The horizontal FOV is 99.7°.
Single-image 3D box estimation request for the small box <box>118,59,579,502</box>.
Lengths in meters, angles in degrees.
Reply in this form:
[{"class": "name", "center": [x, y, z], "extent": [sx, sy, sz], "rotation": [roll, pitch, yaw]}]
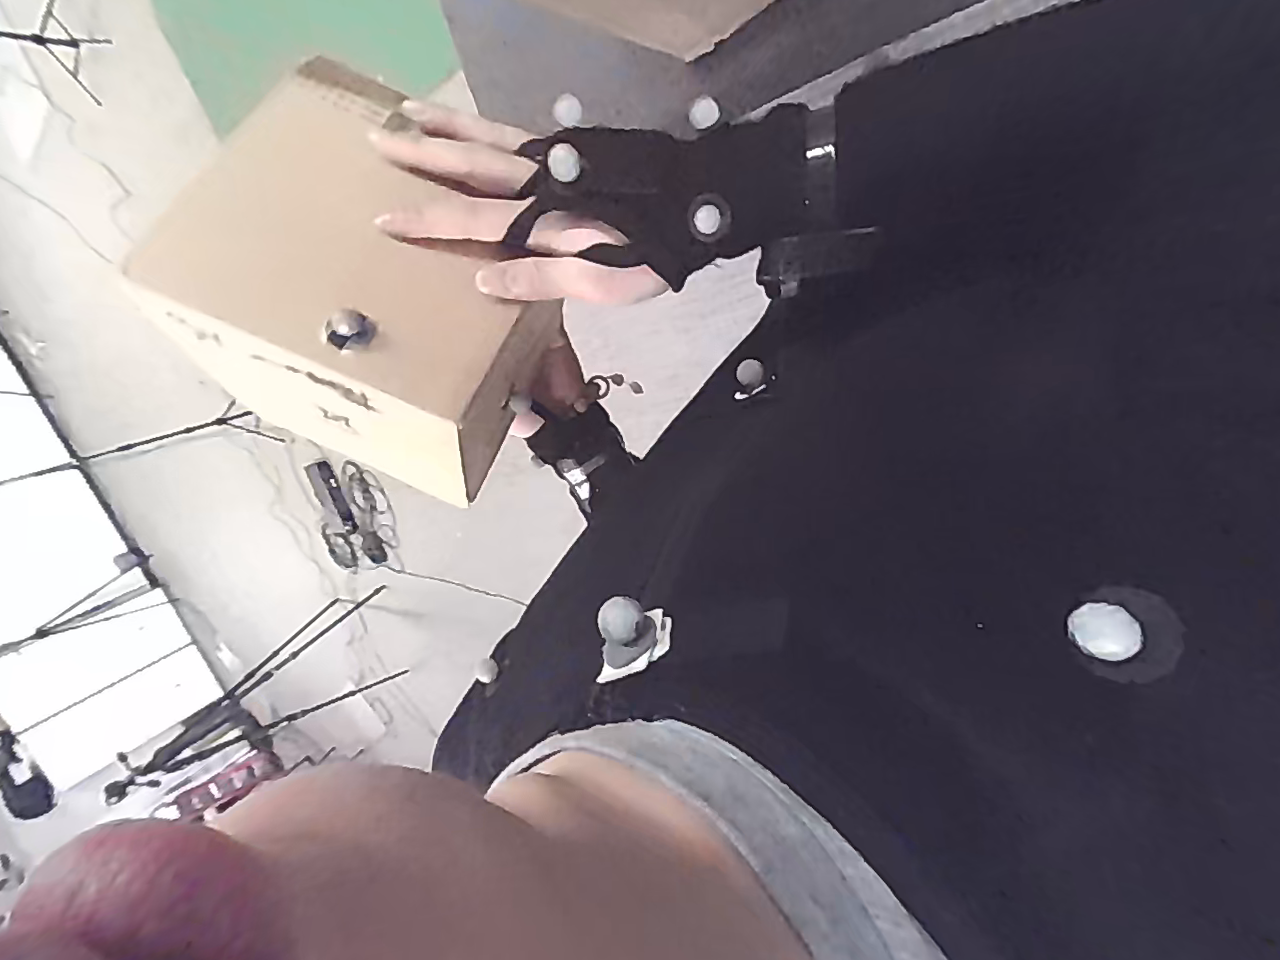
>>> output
[{"class": "small box", "center": [-0.153, -0.110, 0.357], "extent": [0.168, 0.176, 0.179], "rotation": [25, 160, -7]}]
